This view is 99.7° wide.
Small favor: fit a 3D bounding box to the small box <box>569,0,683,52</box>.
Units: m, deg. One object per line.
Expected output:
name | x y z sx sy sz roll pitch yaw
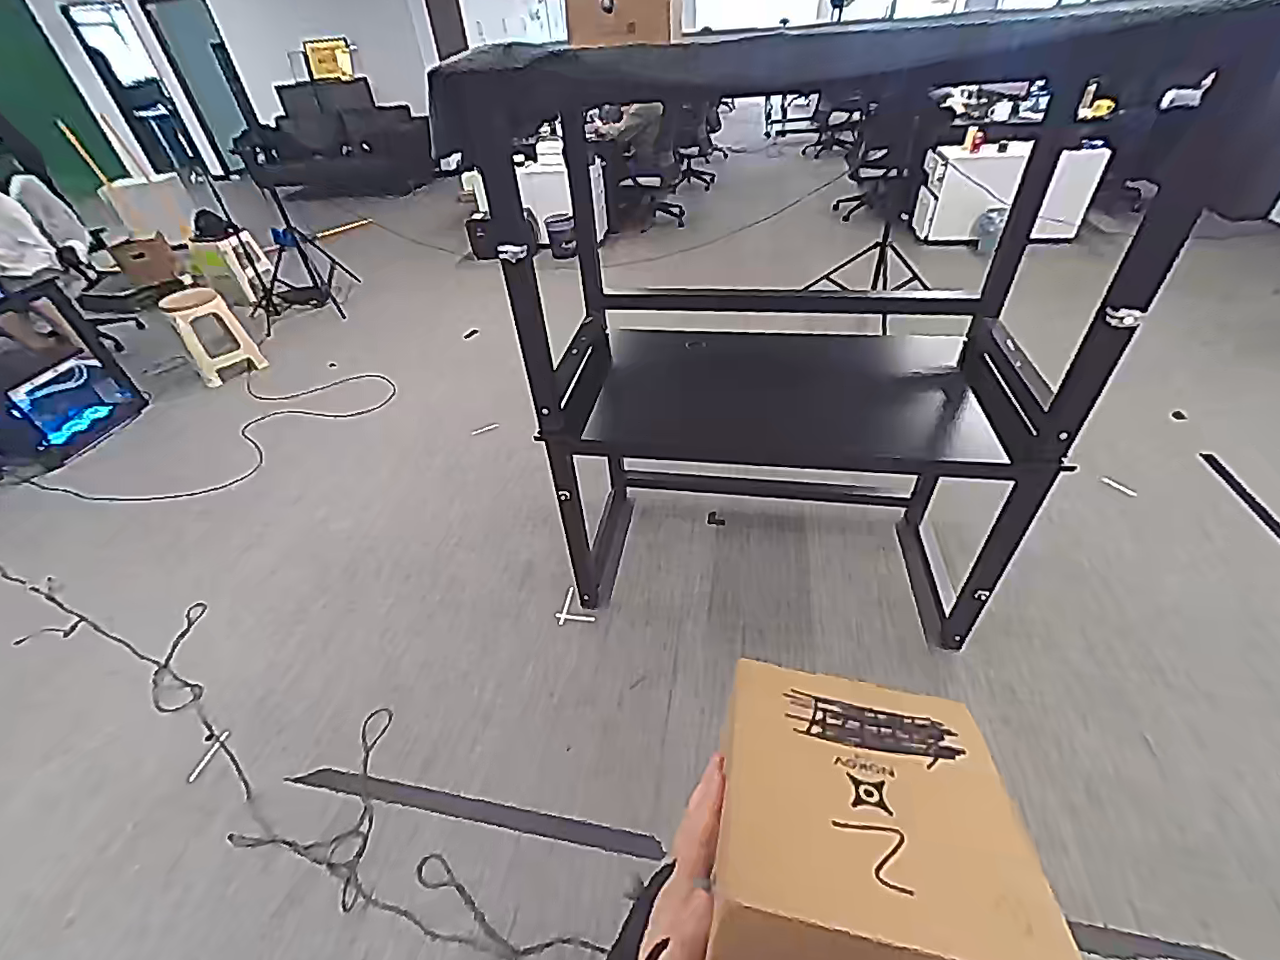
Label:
small box | -0.020 -0.797 0.865 0.168 0.176 0.179 4 40 8
